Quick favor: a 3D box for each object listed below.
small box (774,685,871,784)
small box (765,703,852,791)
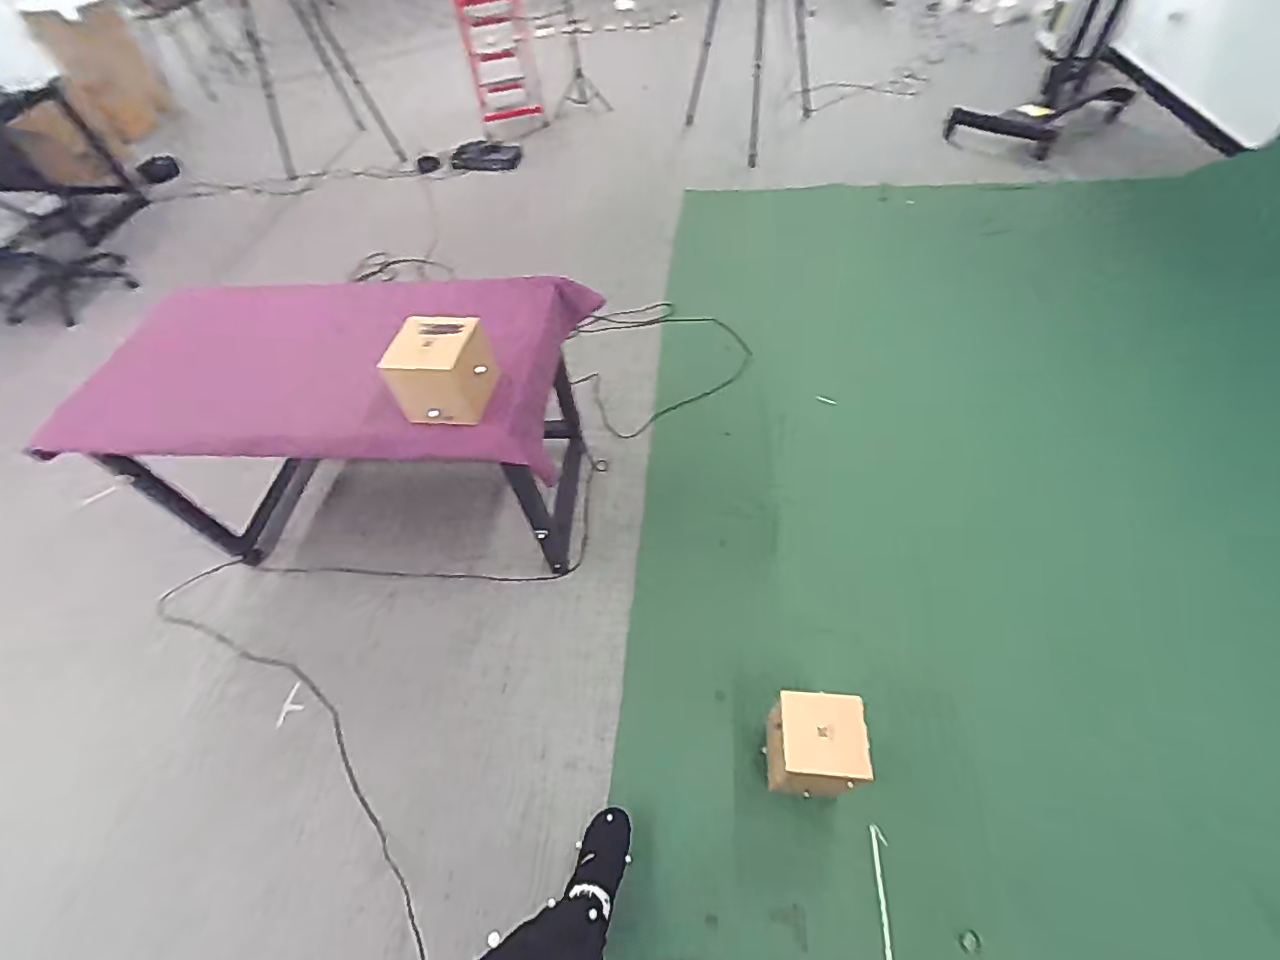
[{"bbox_3d":[0.400,0.577,1.221,0.179,0.176,0.168,2,53,6],"label":"small box"},{"bbox_3d":[0.413,0.671,1.352,0.179,0.176,0.168,2,53,7],"label":"small box"}]
